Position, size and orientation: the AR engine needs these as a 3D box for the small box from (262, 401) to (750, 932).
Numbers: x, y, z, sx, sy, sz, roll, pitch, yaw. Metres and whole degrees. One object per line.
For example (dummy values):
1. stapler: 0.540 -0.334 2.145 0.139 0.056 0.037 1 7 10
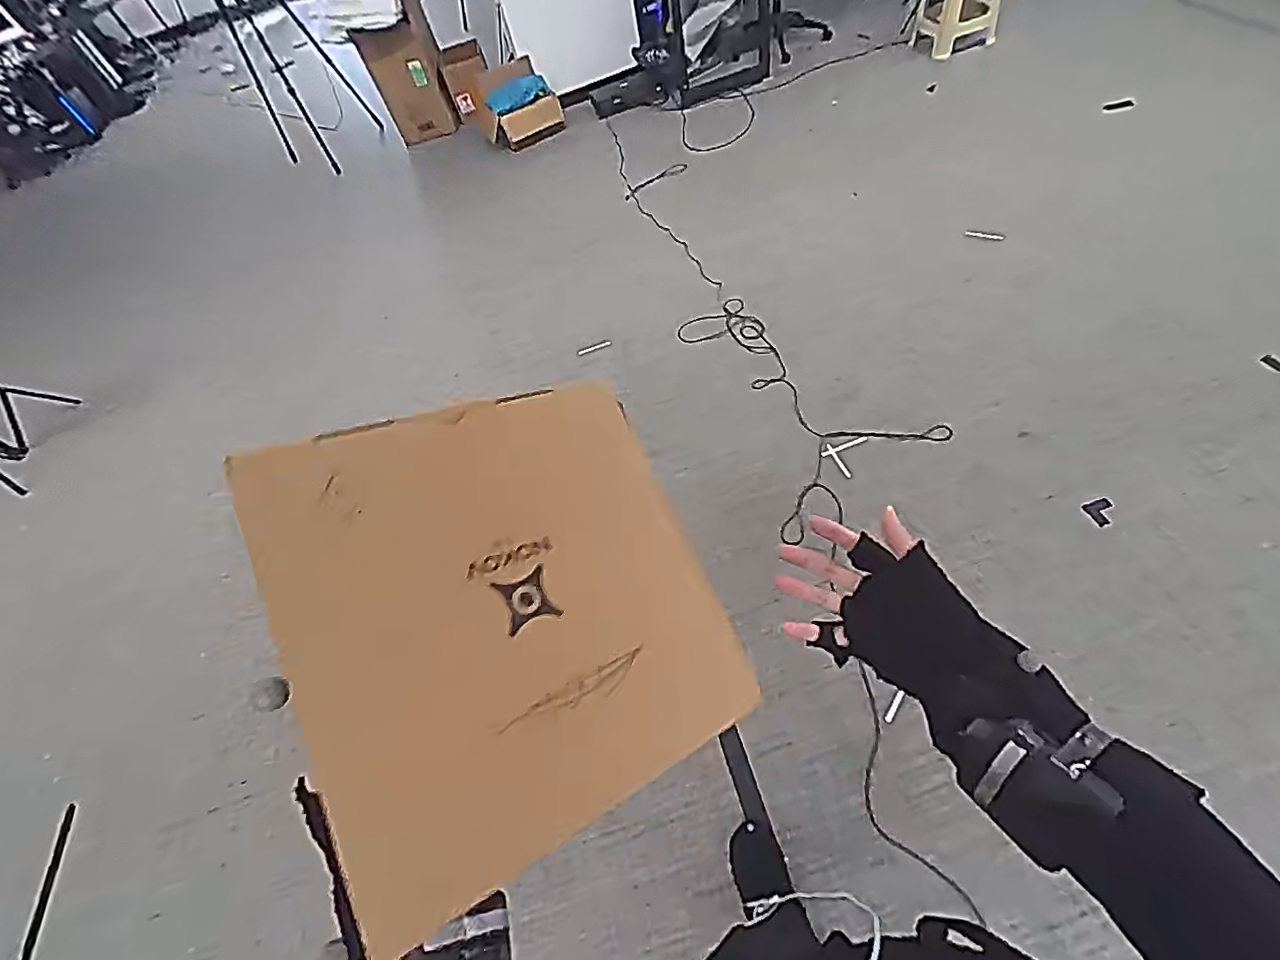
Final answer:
1. small box: -0.081 0.084 0.296 0.168 0.176 0.179 -17 74 -32
